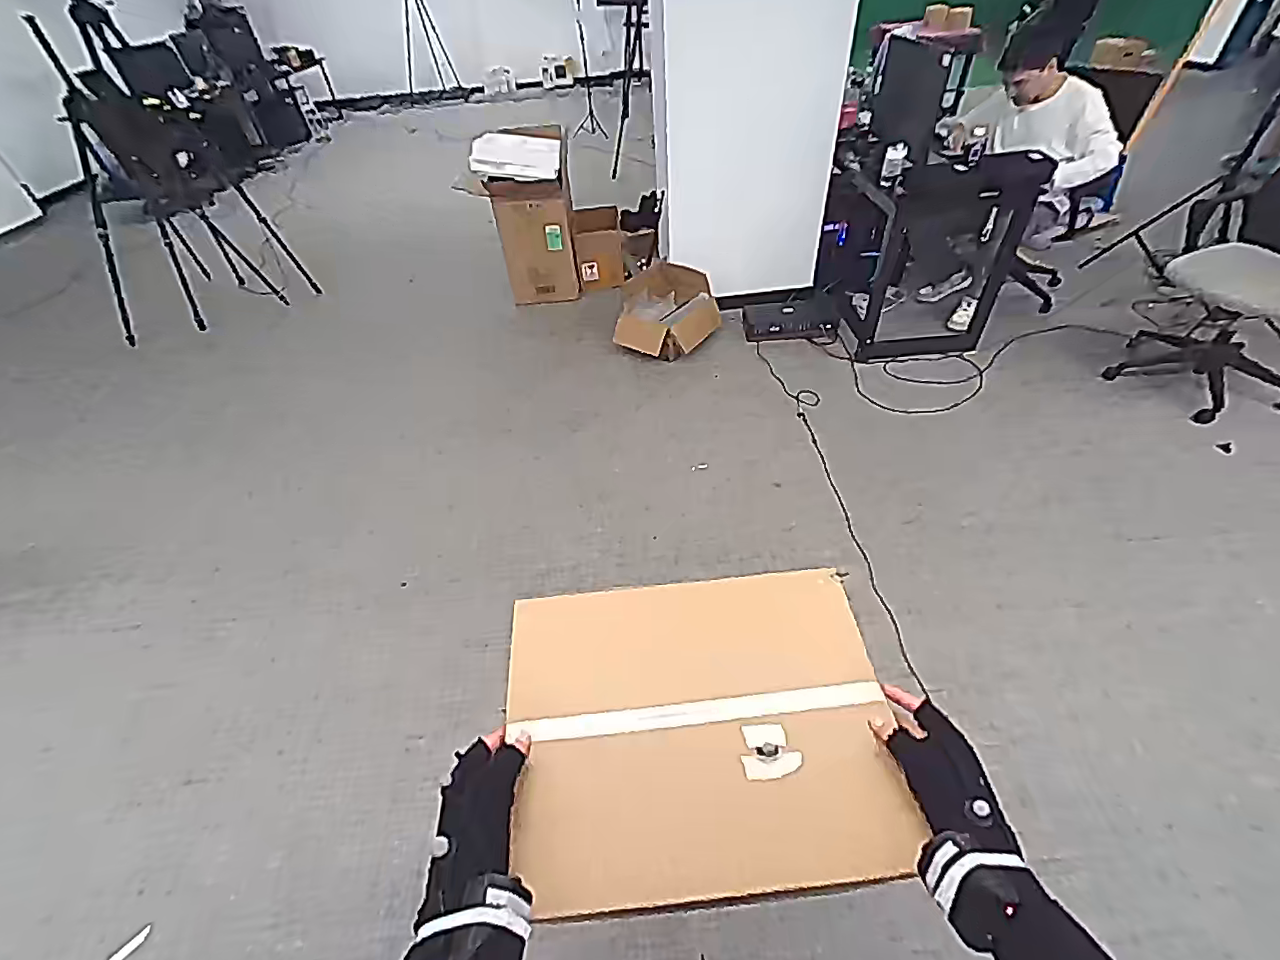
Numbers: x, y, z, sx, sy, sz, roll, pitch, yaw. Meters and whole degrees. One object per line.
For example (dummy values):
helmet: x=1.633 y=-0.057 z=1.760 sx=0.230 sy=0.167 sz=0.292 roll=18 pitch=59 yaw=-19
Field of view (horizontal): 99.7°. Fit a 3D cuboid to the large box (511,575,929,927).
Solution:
large box: x=0.065 y=0.355 z=0.706 sx=0.408 sy=0.320 sz=0.320 roll=-6 pitch=50 yaw=-2
